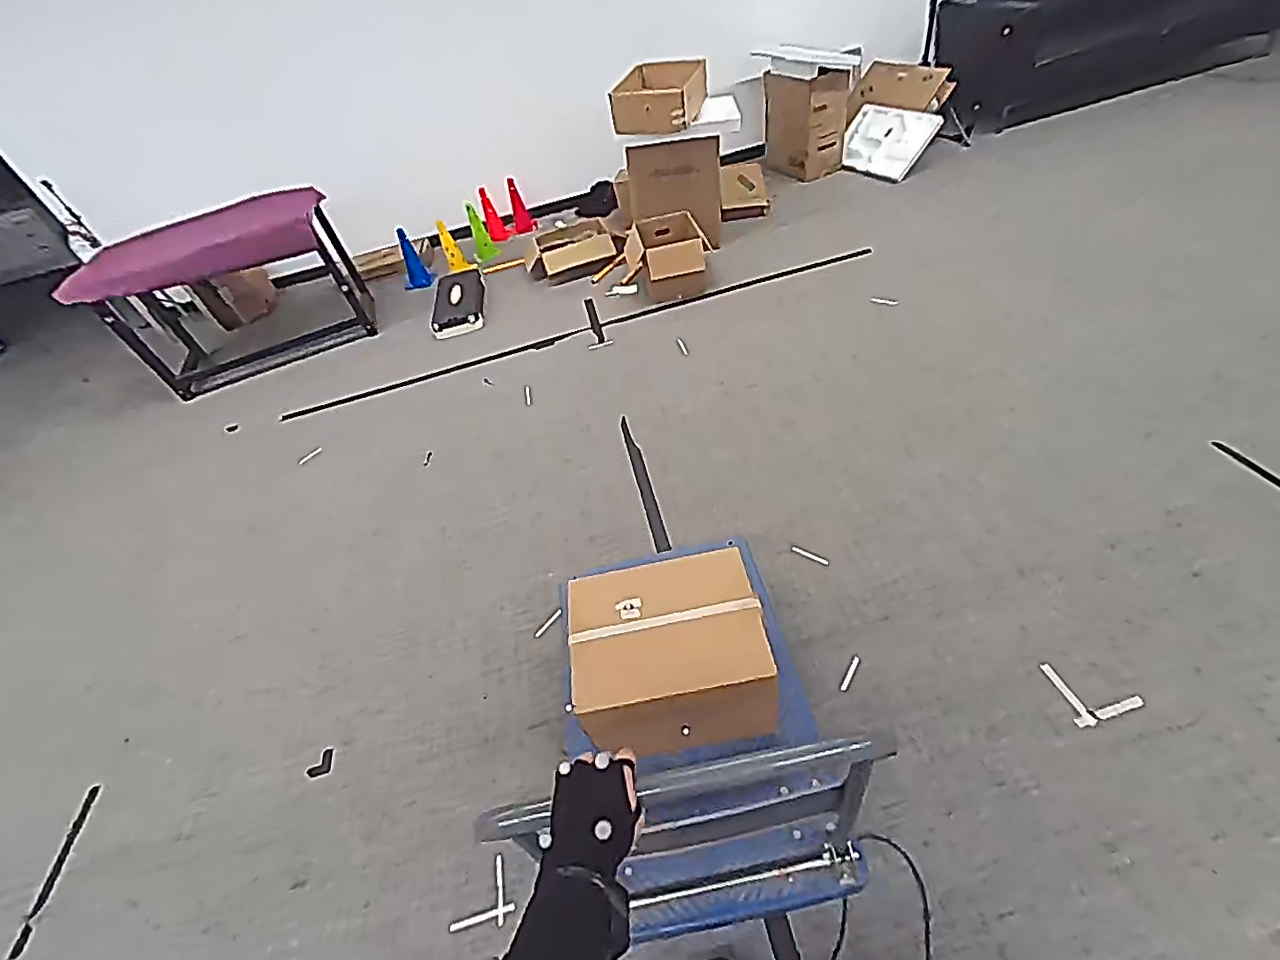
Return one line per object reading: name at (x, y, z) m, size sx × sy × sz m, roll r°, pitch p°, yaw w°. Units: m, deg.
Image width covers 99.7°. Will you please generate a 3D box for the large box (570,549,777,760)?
large box at (0.078, 0.410, 1.259) m, size 0.408 × 0.320 × 0.320 m, roll -13°, pitch 44°, yaw 3°
